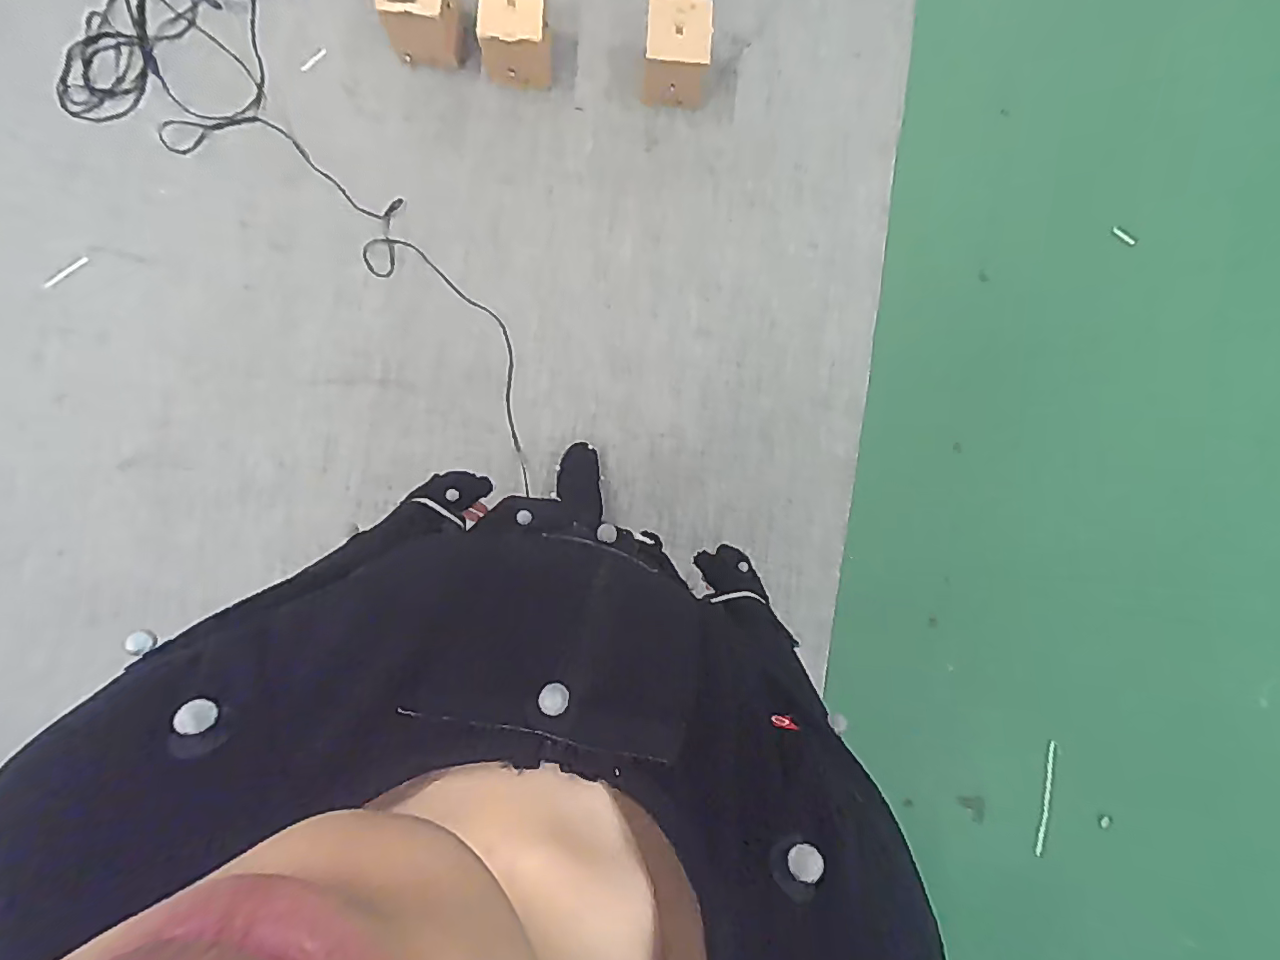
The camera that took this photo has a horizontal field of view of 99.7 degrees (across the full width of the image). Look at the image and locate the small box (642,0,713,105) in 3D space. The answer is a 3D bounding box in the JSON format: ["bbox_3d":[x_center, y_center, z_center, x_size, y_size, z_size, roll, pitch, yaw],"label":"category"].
[{"bbox_3d":[0.095,-1.147,1.447,0.168,0.176,0.179,3,89,-3],"label":"small box"}]

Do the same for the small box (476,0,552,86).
[{"bbox_3d":[-0.328,-1.196,1.432,0.168,0.176,0.179,3,89,-2],"label":"small box"}]

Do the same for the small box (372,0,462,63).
[{"bbox_3d":[-0.578,-1.249,1.422,0.168,0.176,0.179,6,87,-2],"label":"small box"}]
